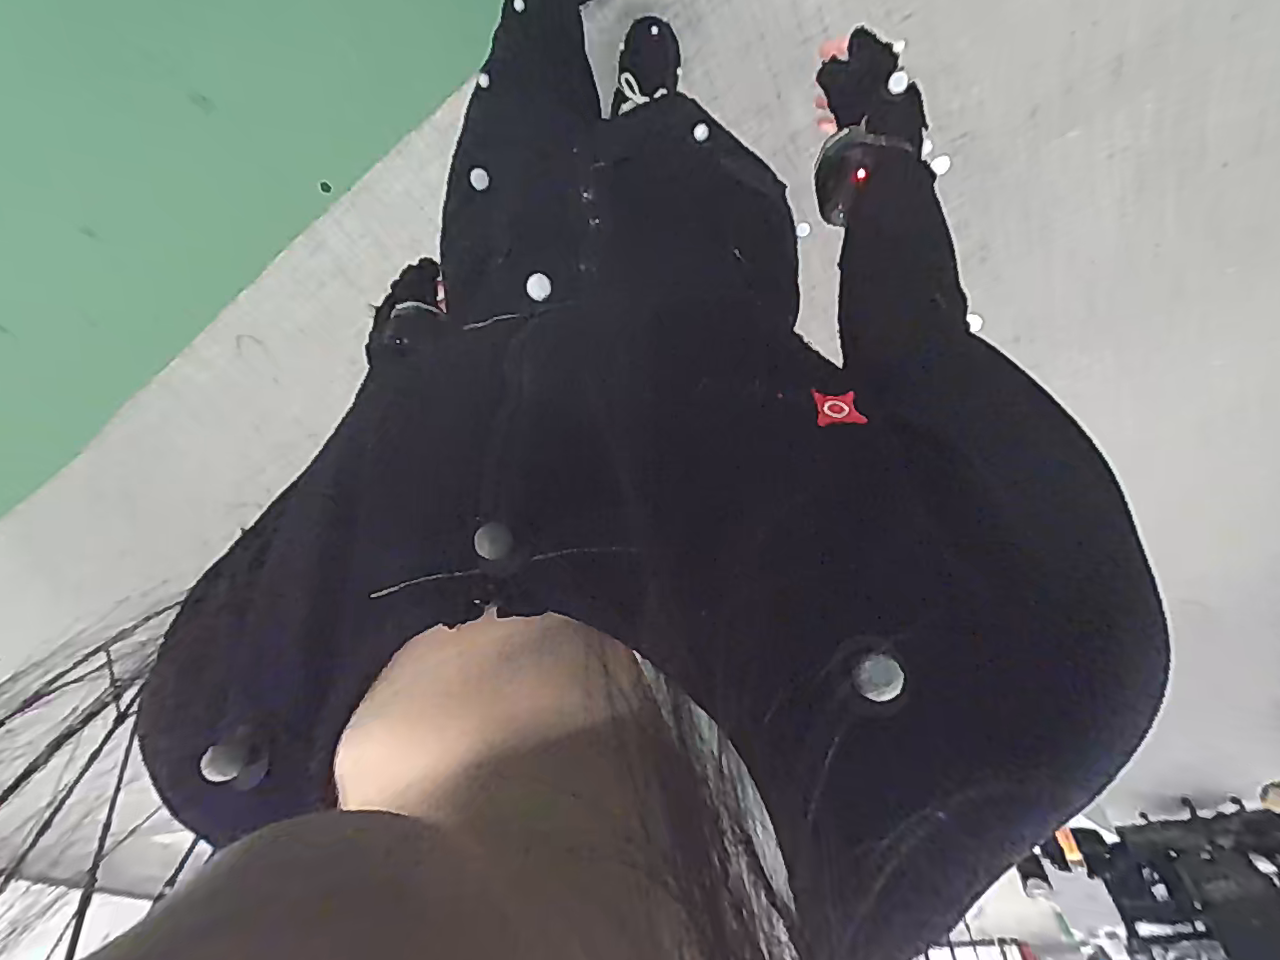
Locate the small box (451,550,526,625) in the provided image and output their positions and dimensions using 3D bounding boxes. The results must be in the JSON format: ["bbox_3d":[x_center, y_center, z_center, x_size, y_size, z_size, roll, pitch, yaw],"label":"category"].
[{"bbox_3d":[-0.521,0.374,1.888,0.179,0.176,0.168,-25,130,22],"label":"small box"}]
